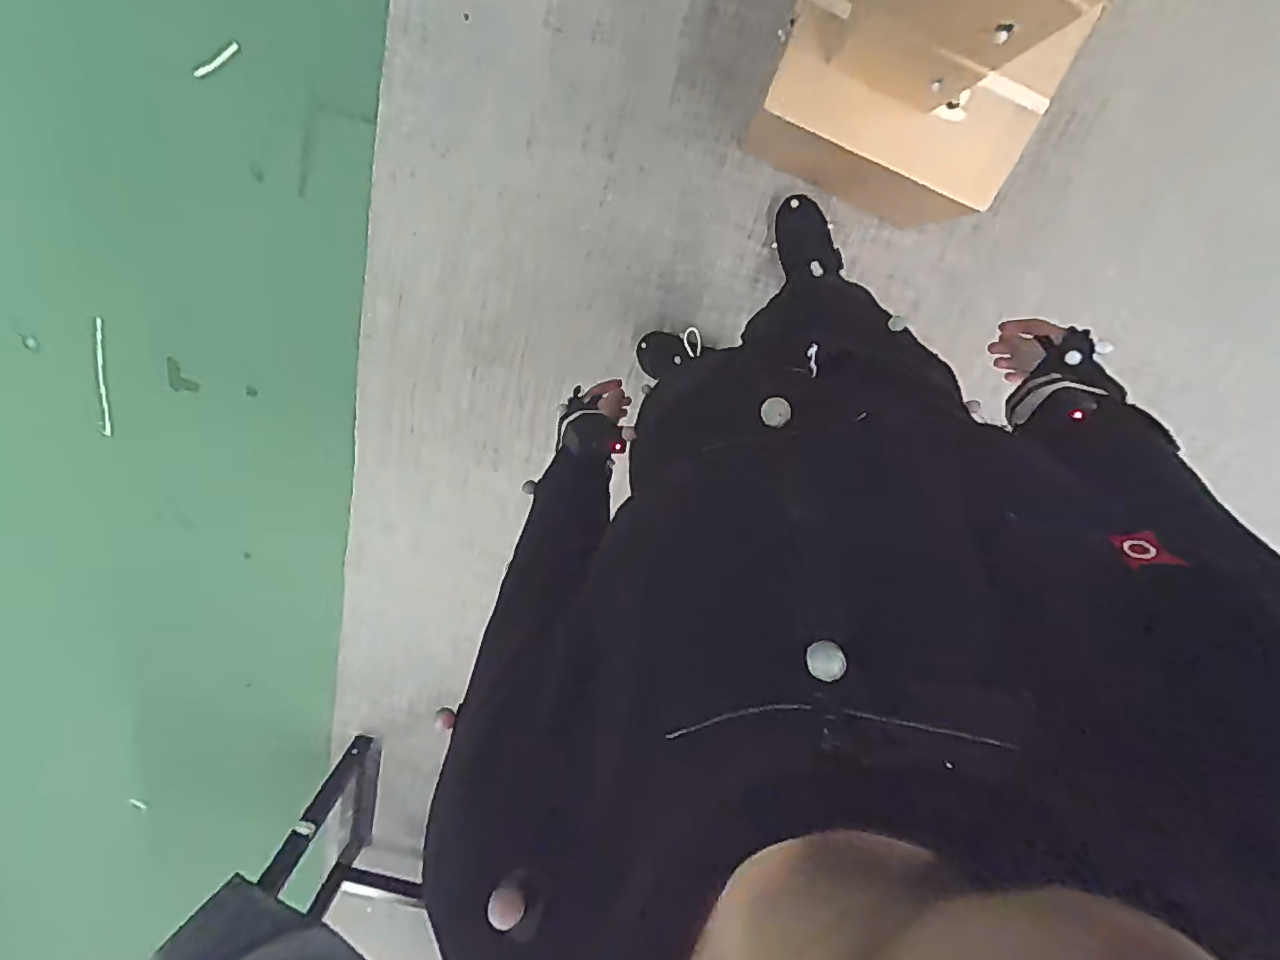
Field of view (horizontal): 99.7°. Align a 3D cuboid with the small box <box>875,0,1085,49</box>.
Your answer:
[{"bbox_3d":[0.377,-0.583,0.549,0.179,0.176,0.168,19,110,-3],"label":"small box"}]

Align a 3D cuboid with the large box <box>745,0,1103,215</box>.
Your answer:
[{"bbox_3d":[0.440,-0.702,0.936,0.408,0.320,0.320,21,112,-5],"label":"large box"}]
